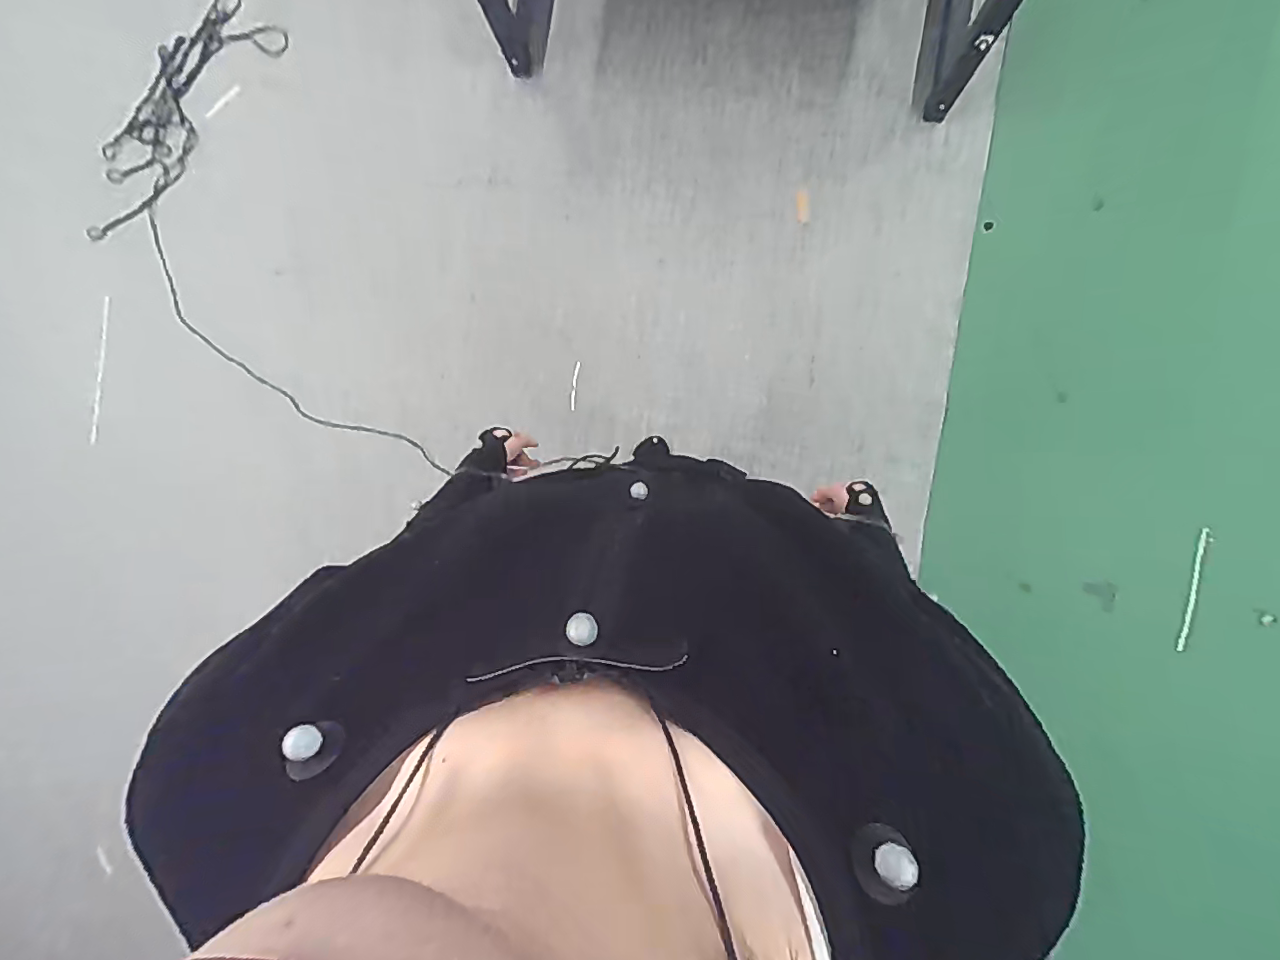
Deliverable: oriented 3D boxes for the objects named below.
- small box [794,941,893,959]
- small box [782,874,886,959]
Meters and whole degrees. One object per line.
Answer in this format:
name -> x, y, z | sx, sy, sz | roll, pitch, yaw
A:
small box -> 0.360, 0.922, 0.907 | 0.179, 0.176, 0.168 | -6, 89, 6
small box -> 0.381, 0.920, 1.070 | 0.168, 0.176, 0.179 | -5, 89, 7
